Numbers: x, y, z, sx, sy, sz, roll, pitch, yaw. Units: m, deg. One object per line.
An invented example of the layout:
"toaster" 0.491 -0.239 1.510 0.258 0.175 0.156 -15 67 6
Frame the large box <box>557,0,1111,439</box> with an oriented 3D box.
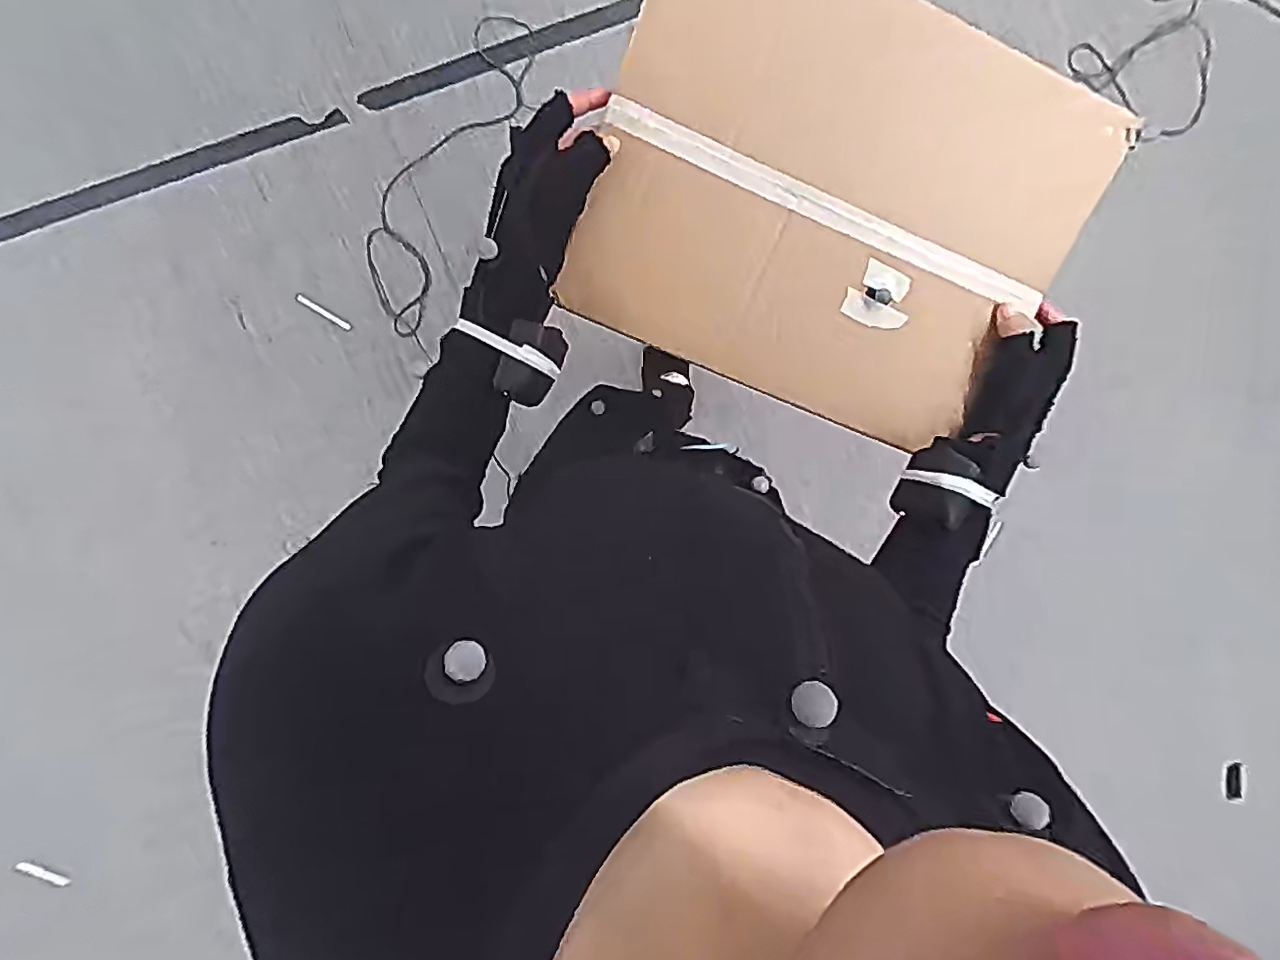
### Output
"large box" 0.156 -0.285 0.612 0.408 0.320 0.320 21 107 -8
